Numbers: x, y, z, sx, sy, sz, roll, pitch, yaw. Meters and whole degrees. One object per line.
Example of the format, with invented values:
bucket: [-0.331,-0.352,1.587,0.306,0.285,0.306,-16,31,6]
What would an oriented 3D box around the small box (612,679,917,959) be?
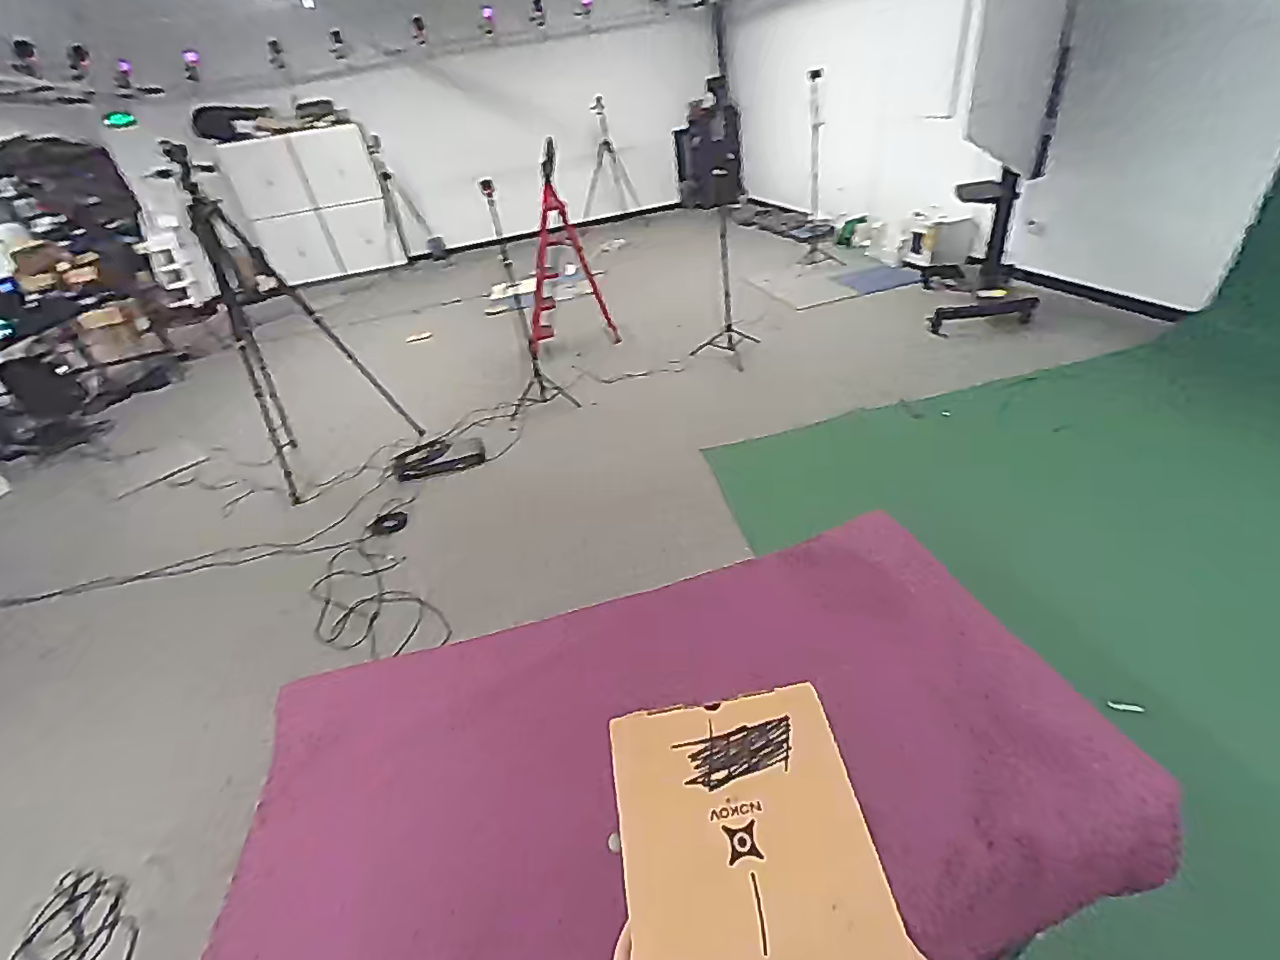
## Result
small box: [0.076,0.282,0.416,0.168,0.176,0.179,-10,47,0]
